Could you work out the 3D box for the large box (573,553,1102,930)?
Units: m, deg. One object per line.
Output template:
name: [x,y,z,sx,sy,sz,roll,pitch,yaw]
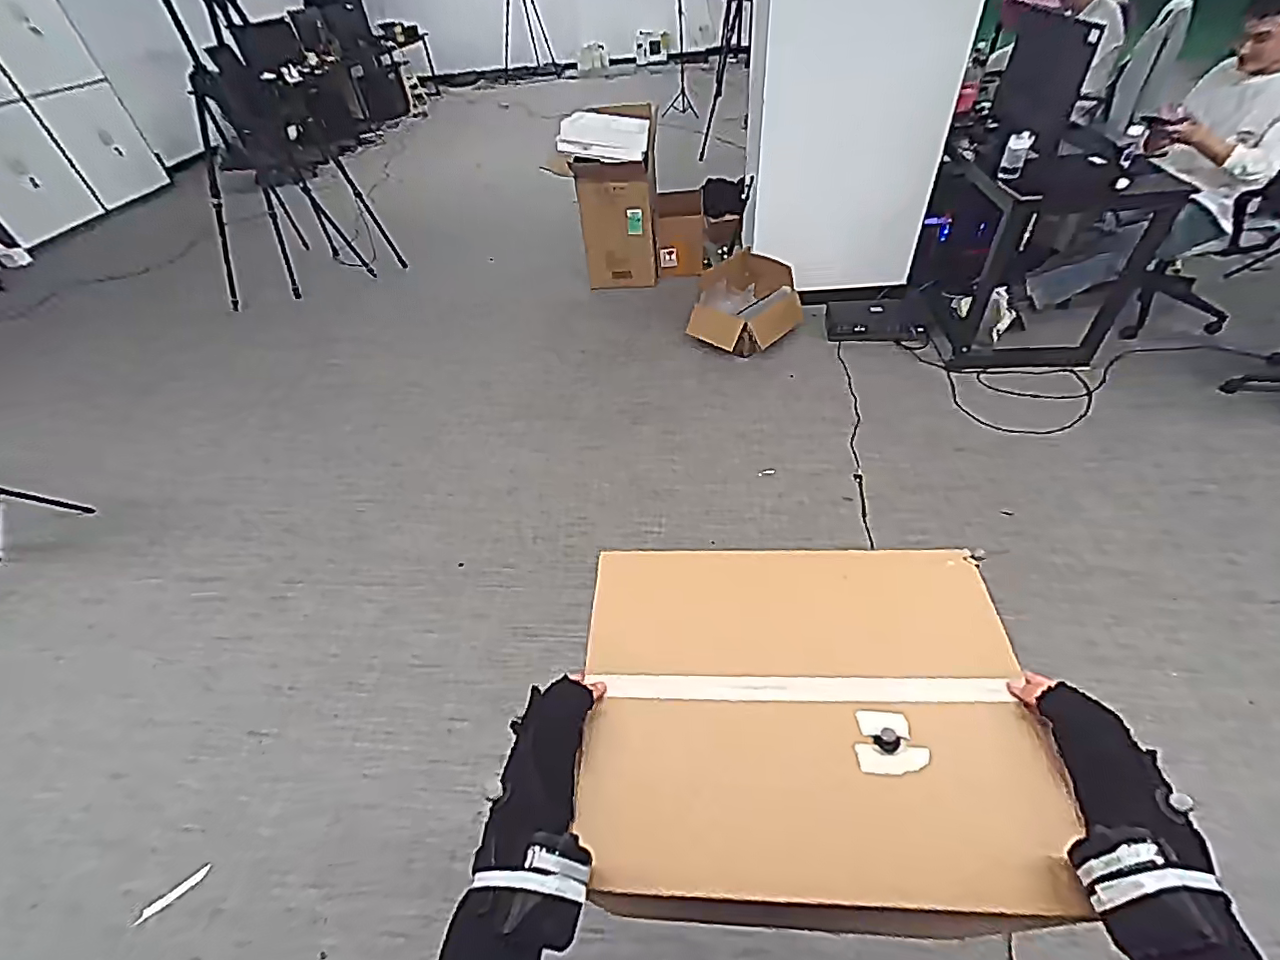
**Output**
large box: [0.157,0.299,0.617,0.408,0.320,0.320,-1,48,5]
